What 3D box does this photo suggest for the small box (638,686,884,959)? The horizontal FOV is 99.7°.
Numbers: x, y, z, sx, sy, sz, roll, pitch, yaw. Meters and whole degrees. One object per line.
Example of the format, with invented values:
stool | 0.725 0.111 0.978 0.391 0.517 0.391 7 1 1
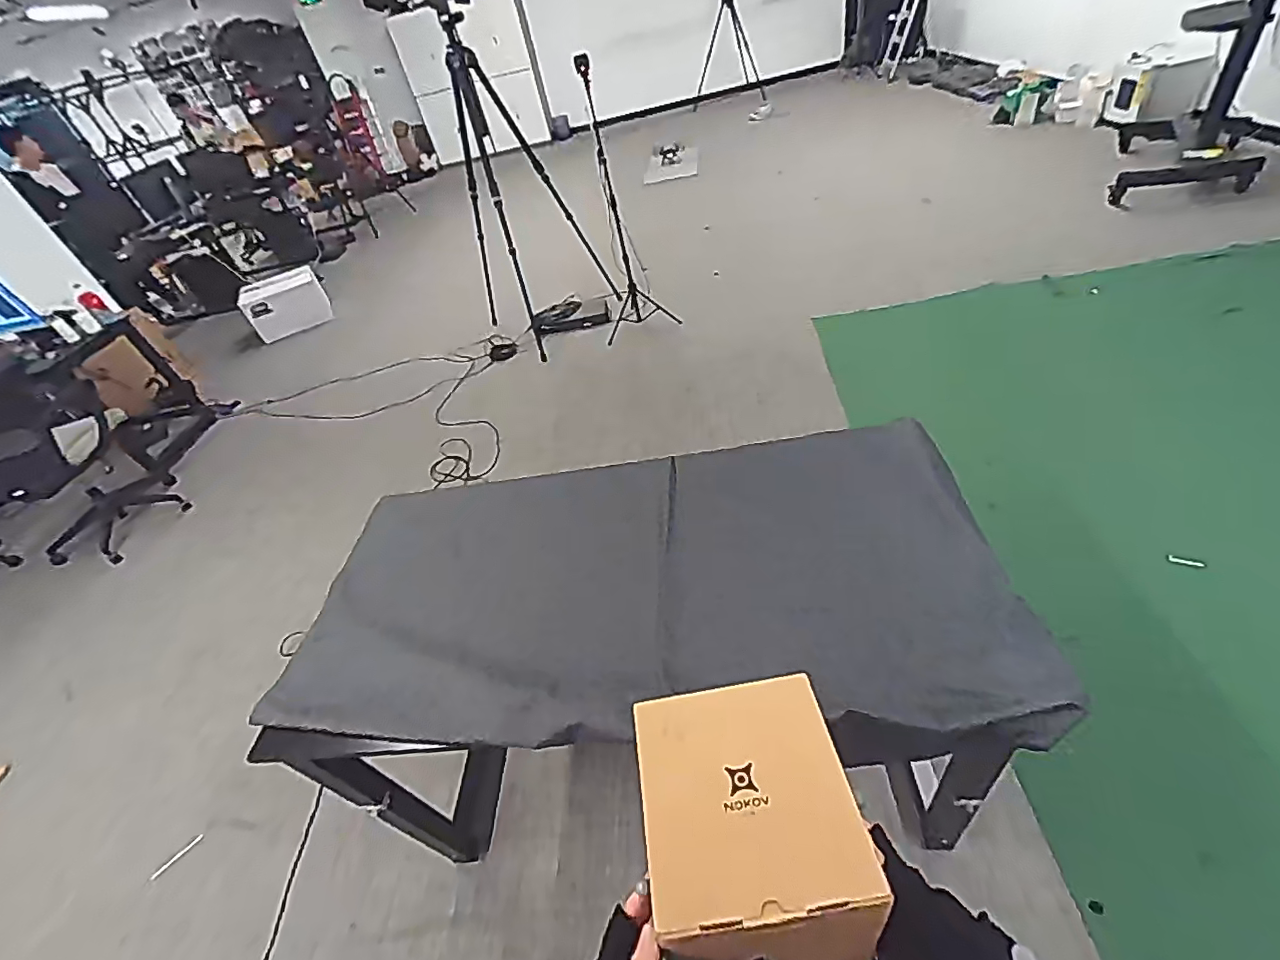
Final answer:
small box | 0.094 0.322 0.493 0.168 0.176 0.179 -10 38 1
